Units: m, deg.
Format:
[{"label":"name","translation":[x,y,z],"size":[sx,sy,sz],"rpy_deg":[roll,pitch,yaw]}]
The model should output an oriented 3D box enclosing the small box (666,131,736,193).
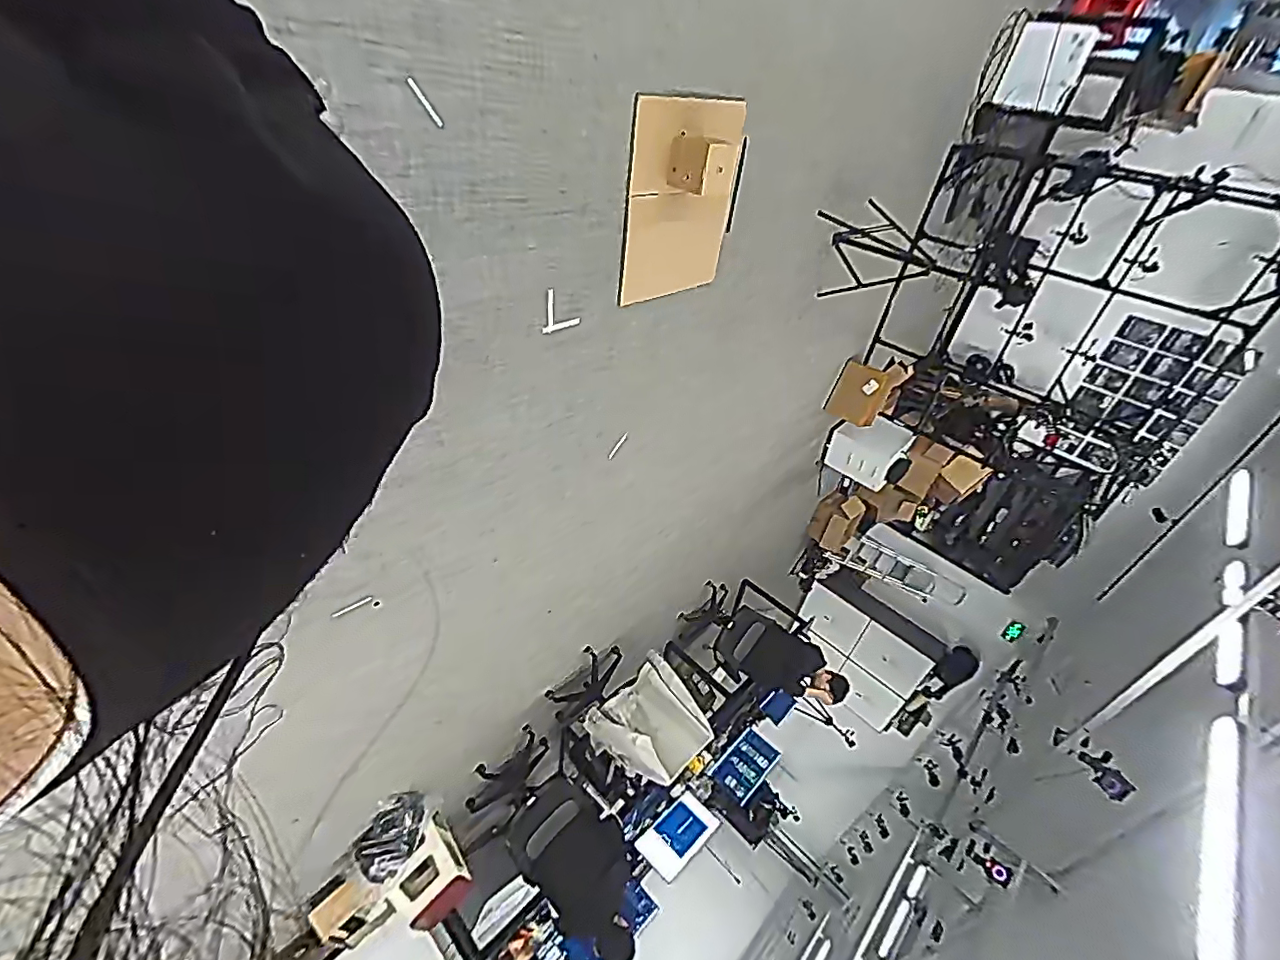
[{"label":"small box","translation":[0.216,-1.156,1.965],"size":[0.179,0.176,0.168],"rpy_deg":[-29,143,-38]}]
